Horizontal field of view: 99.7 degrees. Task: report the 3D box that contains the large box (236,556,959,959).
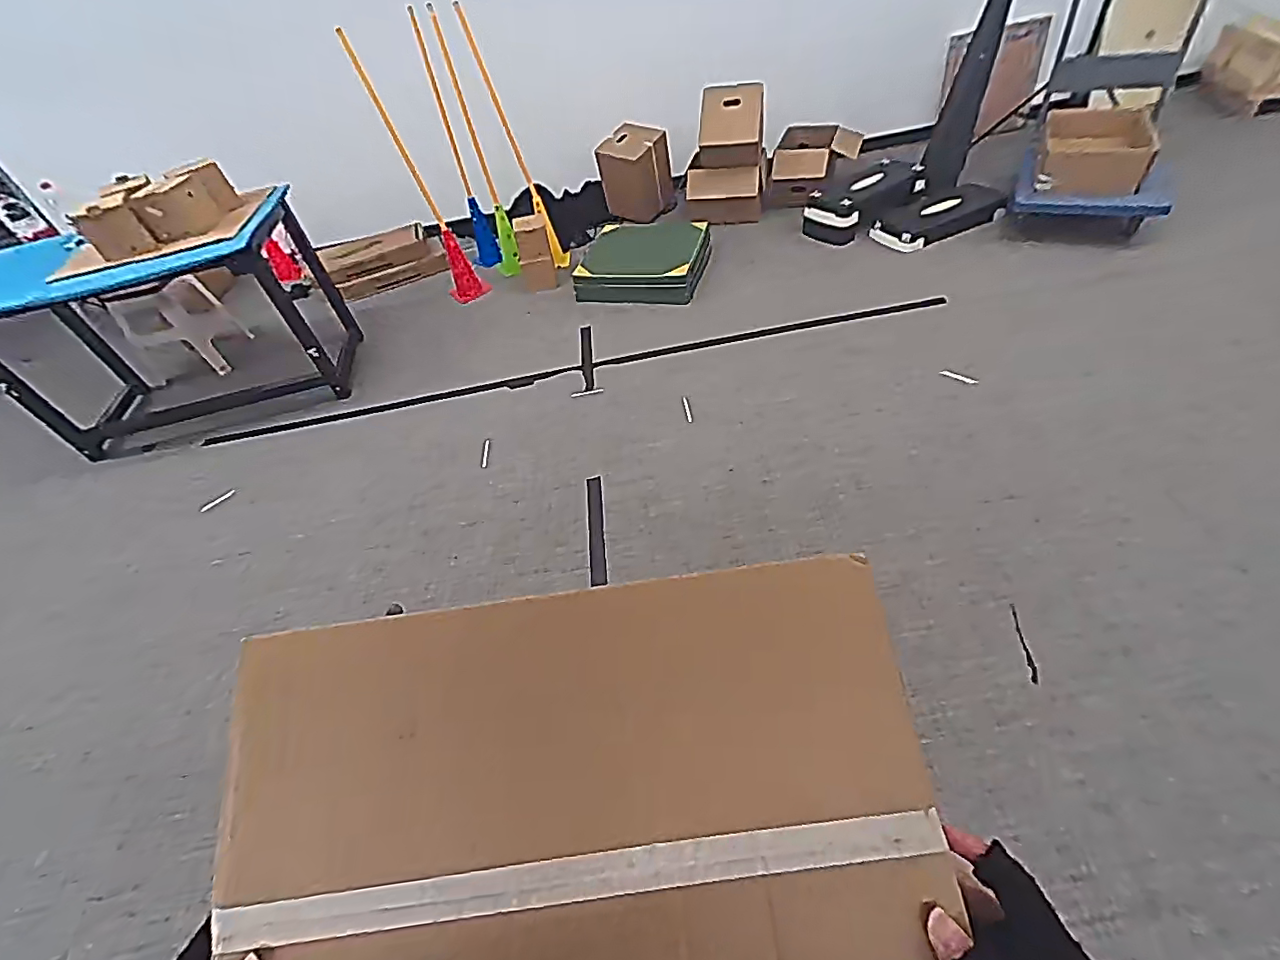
[{"bbox_3d":[-0.027,0.271,0.453,0.408,0.320,0.320,-8,72,1],"label":"large box"}]
